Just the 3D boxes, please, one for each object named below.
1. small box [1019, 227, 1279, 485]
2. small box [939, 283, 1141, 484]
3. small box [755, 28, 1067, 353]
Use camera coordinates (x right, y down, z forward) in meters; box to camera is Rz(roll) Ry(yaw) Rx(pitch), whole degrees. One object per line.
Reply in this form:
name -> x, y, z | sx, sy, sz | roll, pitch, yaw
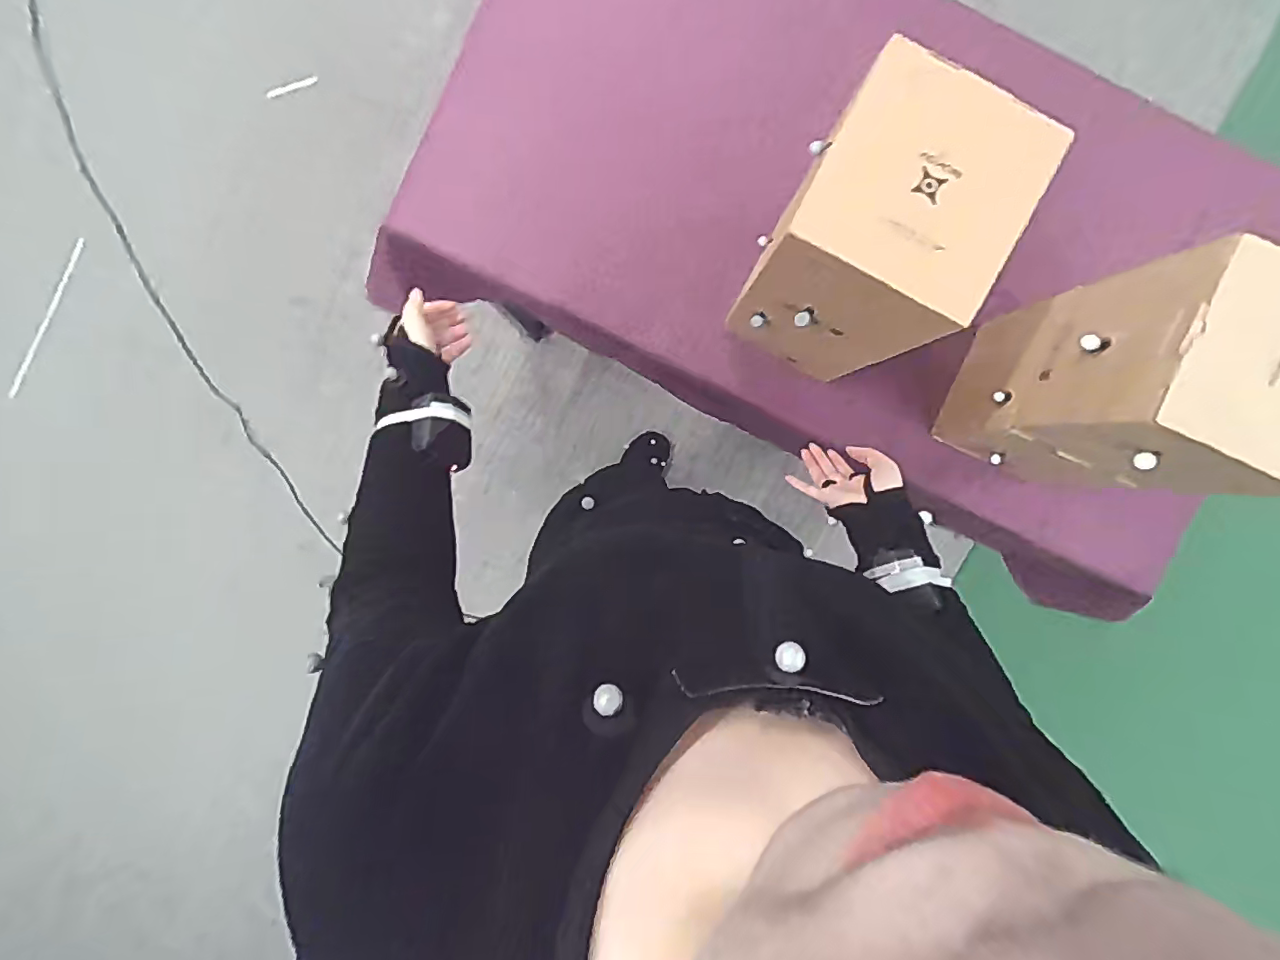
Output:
small box -> 0.519, -0.100, 0.516 | 0.179, 0.176, 0.168 | 24, 93, -1
small box -> 0.519, -0.111, 0.680 | 0.168, 0.176, 0.179 | 24, 93, -1
small box -> 0.227, -0.244, 0.506 | 0.168, 0.176, 0.179 | 29, 92, -1
